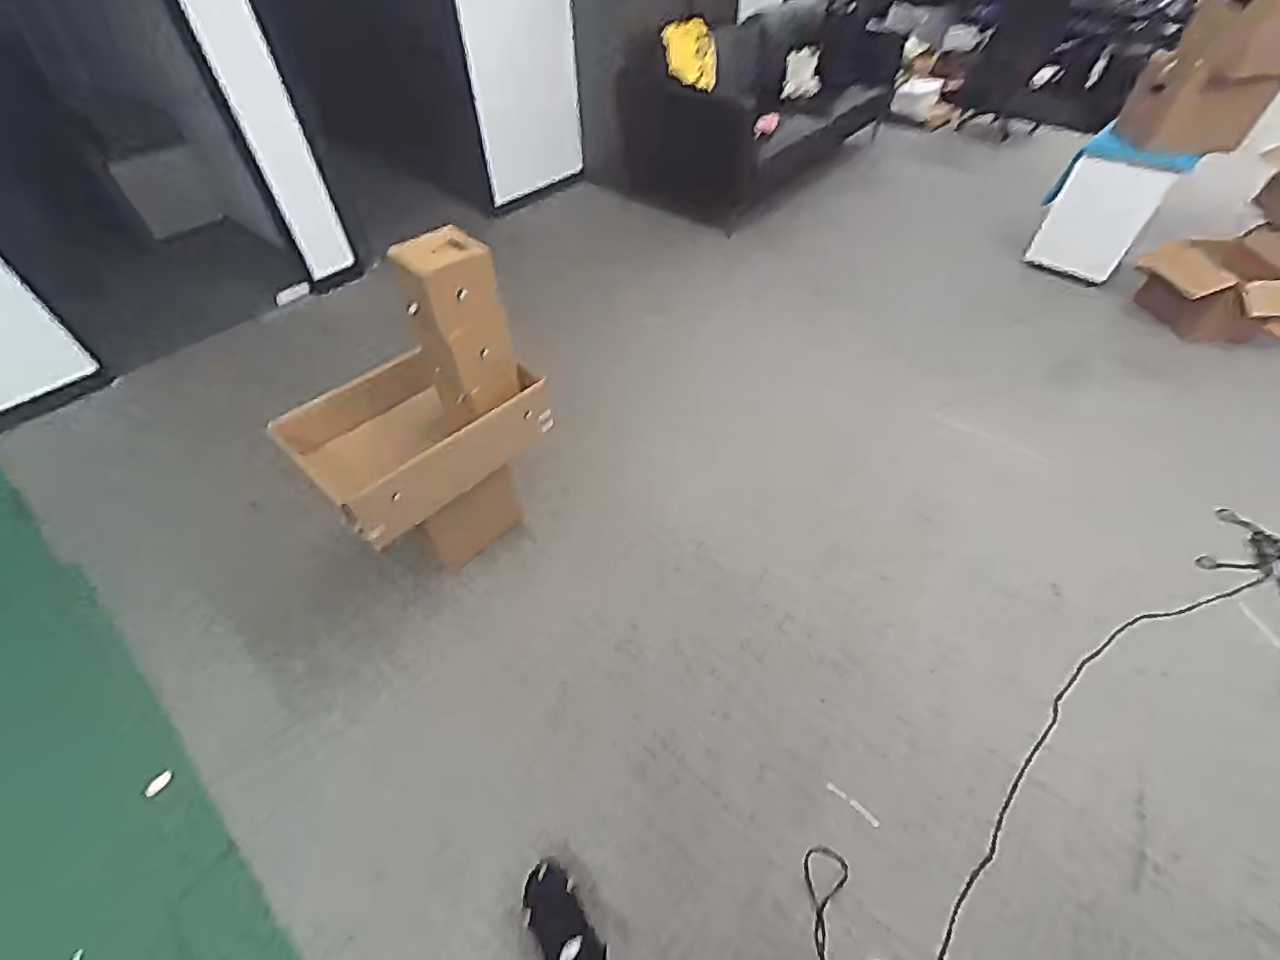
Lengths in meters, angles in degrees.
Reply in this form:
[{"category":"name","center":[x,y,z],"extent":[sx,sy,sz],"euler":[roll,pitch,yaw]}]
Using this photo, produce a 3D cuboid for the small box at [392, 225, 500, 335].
[{"category":"small box","center":[-0.458,-0.482,1.307],"extent":[0.179,0.176,0.168],"euler":[-37,58,-27]}]
